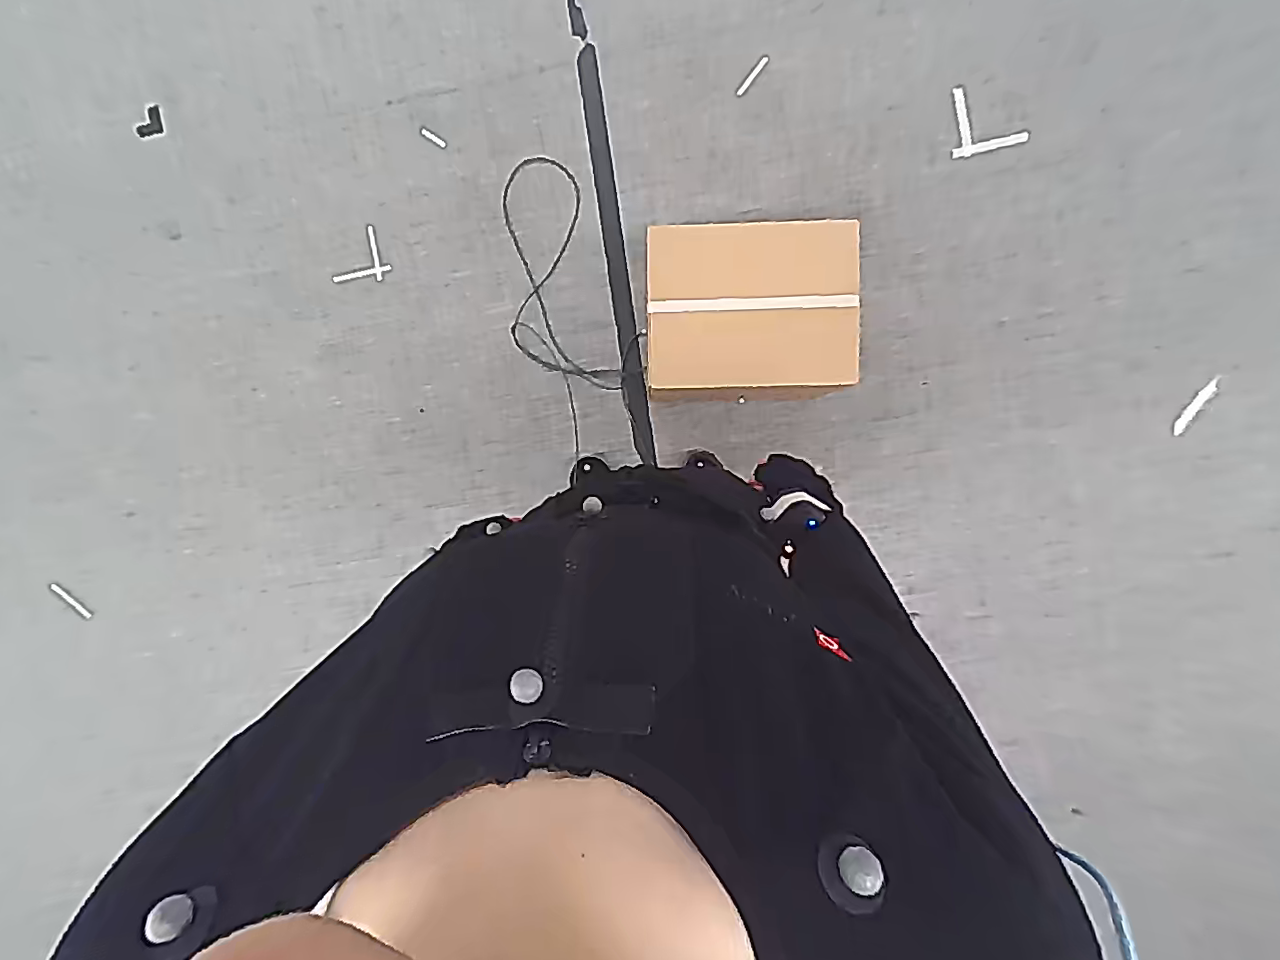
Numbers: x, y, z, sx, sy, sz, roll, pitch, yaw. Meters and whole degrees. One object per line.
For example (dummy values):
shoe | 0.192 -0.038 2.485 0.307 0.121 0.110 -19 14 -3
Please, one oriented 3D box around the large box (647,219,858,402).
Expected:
large box | 0.224 -0.348 1.196 0.408 0.320 0.320 -1 94 2
